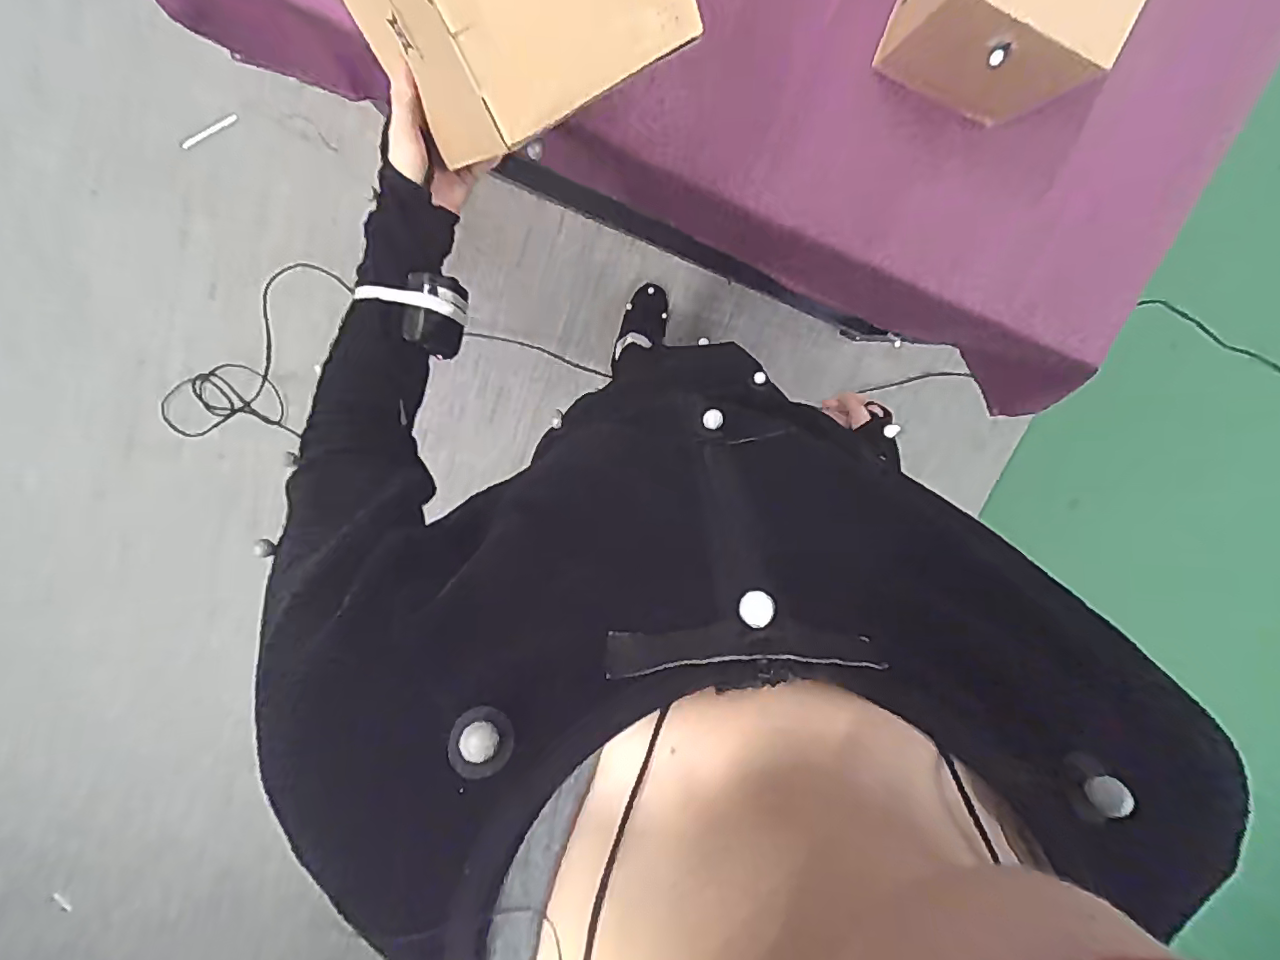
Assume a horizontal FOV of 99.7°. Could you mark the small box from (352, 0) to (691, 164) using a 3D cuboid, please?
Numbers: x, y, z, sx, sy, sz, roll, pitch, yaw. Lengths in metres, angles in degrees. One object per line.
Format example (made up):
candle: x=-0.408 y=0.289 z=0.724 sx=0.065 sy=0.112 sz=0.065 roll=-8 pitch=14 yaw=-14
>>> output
small box: x=-0.094 y=-0.349 z=0.376 sx=0.176 sy=0.179 sz=0.168 roll=-38 pitch=126 yaw=-13

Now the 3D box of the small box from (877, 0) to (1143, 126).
small box: x=0.387 y=-0.509 z=0.563 sx=0.179 sy=0.176 sz=0.168 roll=19 pitch=103 yaw=-10
